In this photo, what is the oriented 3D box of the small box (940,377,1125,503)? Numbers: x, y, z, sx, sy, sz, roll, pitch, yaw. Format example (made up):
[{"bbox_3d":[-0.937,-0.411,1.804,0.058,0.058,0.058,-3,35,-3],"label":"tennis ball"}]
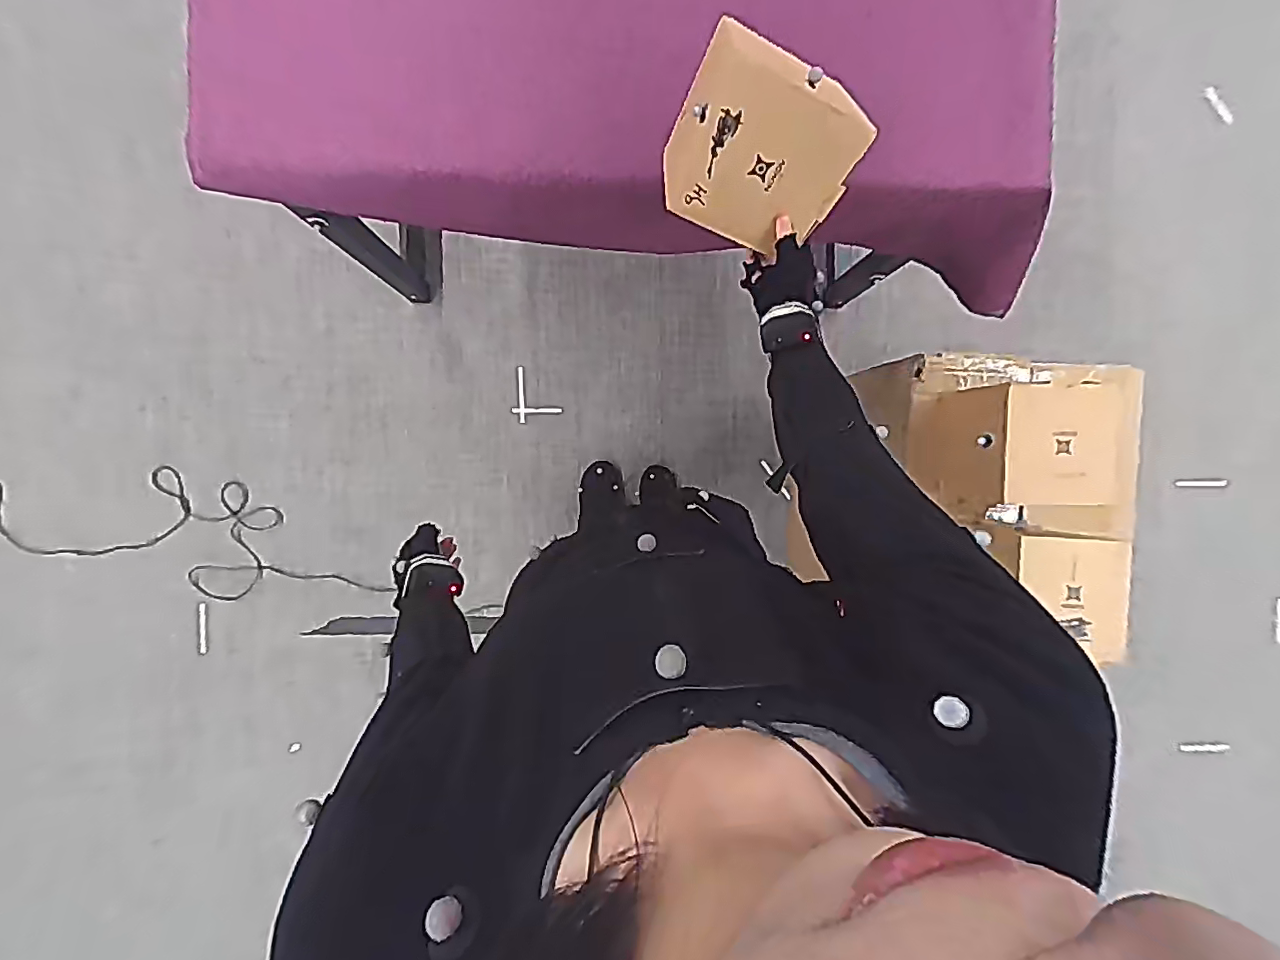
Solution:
[{"bbox_3d":[0.590,-0.059,0.834,0.168,0.176,0.179,0,94,-1],"label":"small box"}]

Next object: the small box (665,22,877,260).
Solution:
[{"bbox_3d":[0.143,-0.408,0.654,0.179,0.168,0.176,15,48,-18],"label":"small box"}]

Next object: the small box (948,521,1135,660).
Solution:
[{"bbox_3d":[0.608,0.163,0.841,0.168,0.176,0.179,4,90,-2],"label":"small box"}]
